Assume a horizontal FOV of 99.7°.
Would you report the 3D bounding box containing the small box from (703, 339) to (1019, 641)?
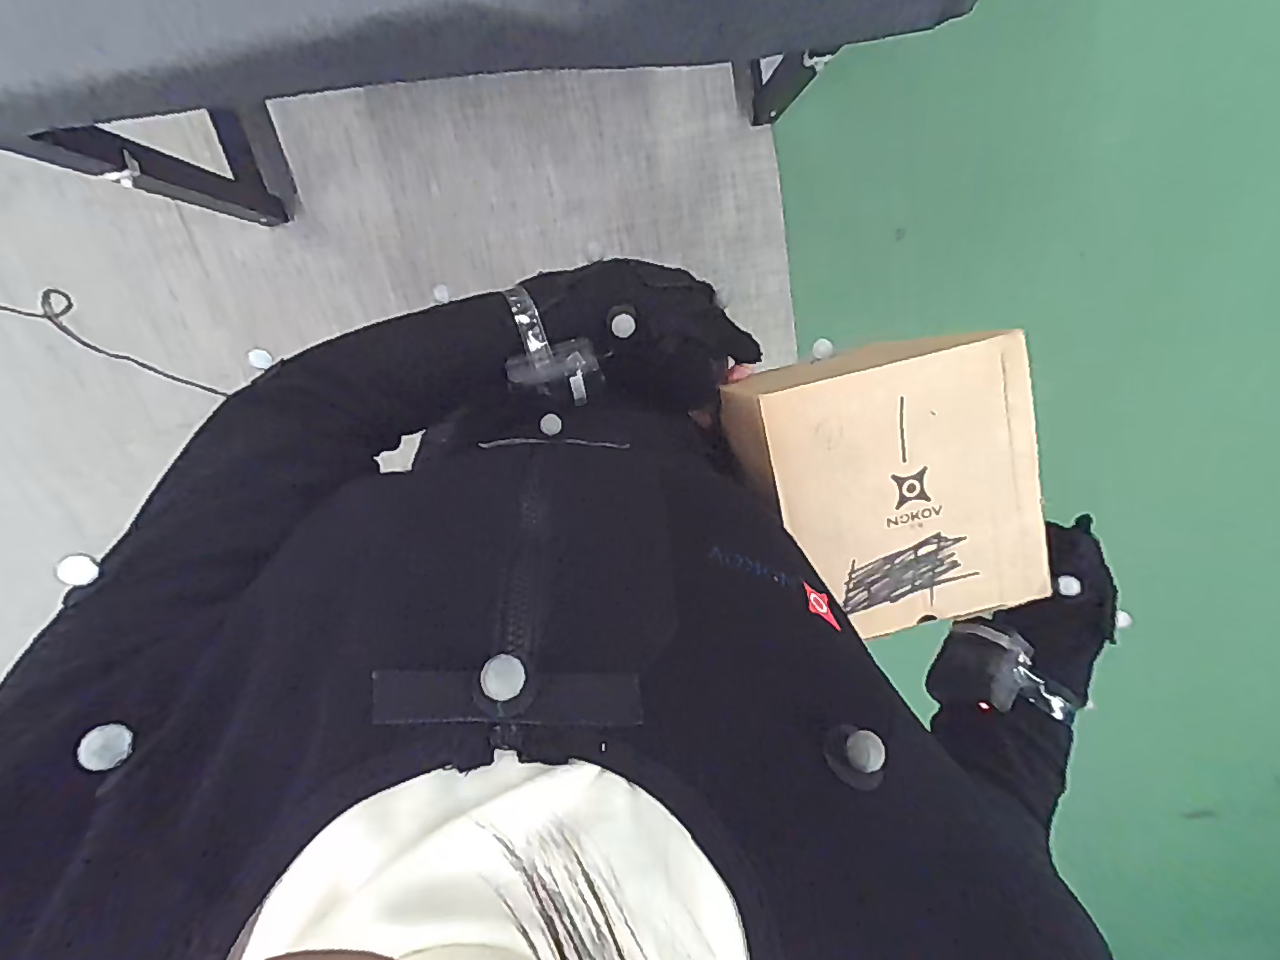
[{"bbox_3d":[0.155,-0.005,0.426,0.168,0.176,0.179,-13,101,-2],"label":"small box"}]
